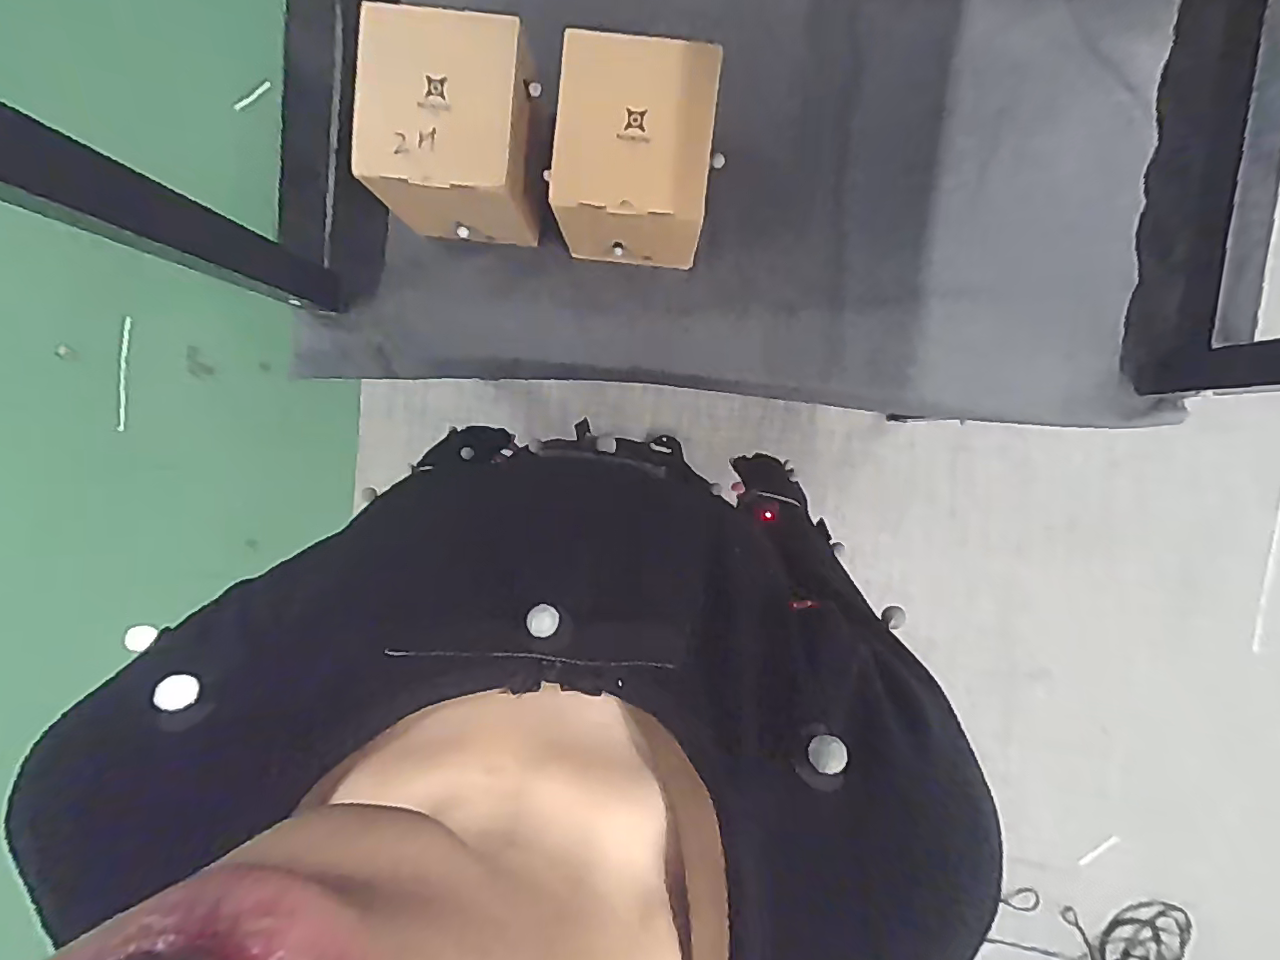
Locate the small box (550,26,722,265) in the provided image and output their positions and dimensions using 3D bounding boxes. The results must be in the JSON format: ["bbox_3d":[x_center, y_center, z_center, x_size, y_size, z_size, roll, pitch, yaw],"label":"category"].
[{"bbox_3d":[-0.006,-0.379,0.643,0.168,0.176,0.179,6,95,0],"label":"small box"}]

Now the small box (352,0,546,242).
[{"bbox_3d":[-0.211,-0.408,0.640,0.168,0.176,0.179,6,95,0],"label":"small box"}]
